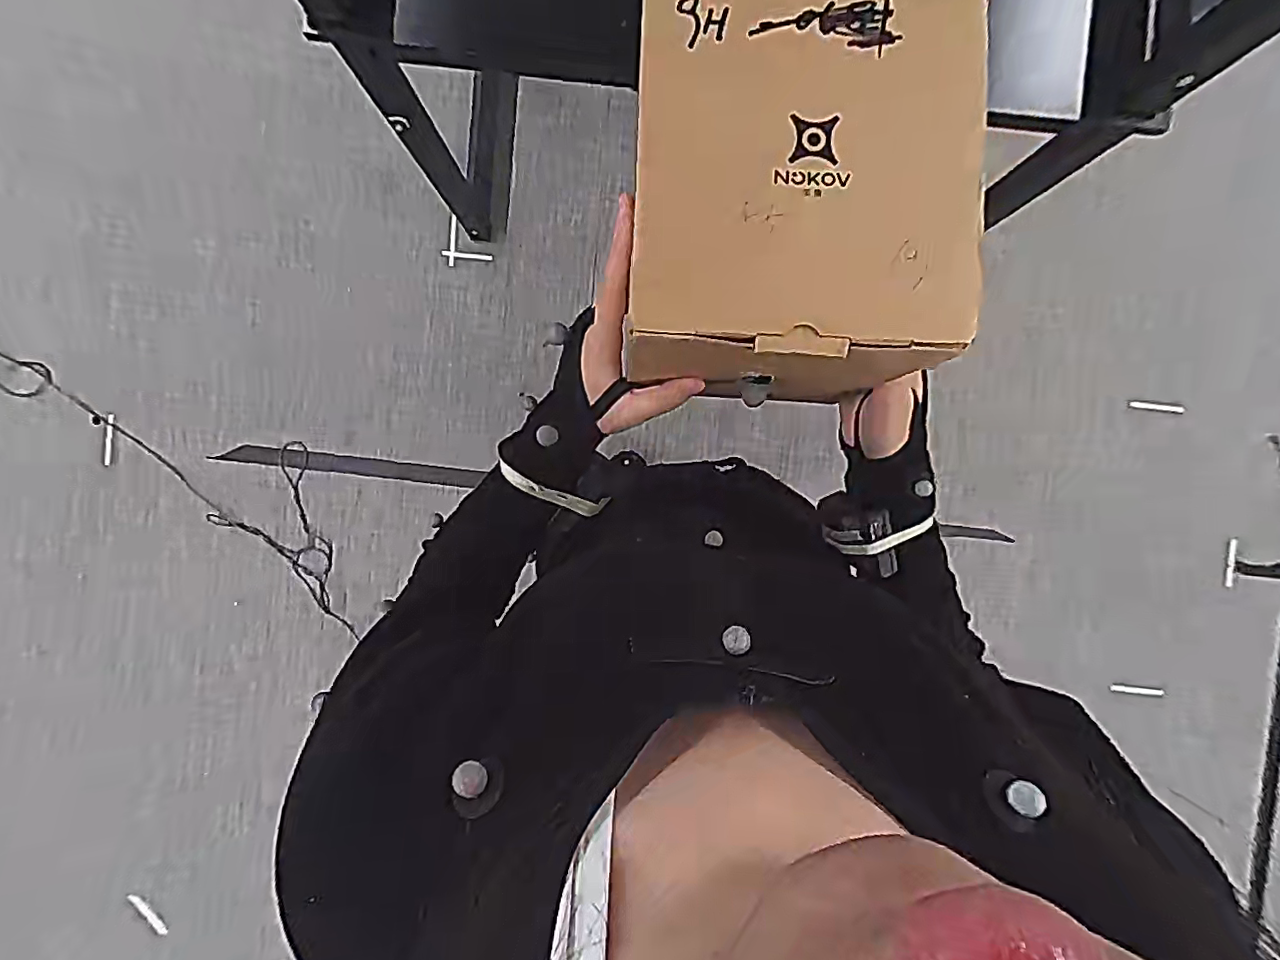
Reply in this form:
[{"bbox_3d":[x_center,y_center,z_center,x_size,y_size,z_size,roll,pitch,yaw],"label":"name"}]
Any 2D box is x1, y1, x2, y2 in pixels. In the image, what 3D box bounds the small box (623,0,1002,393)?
[{"bbox_3d":[0.076,-0.150,0.326,0.168,0.176,0.179,2,91,-3],"label":"small box"}]
